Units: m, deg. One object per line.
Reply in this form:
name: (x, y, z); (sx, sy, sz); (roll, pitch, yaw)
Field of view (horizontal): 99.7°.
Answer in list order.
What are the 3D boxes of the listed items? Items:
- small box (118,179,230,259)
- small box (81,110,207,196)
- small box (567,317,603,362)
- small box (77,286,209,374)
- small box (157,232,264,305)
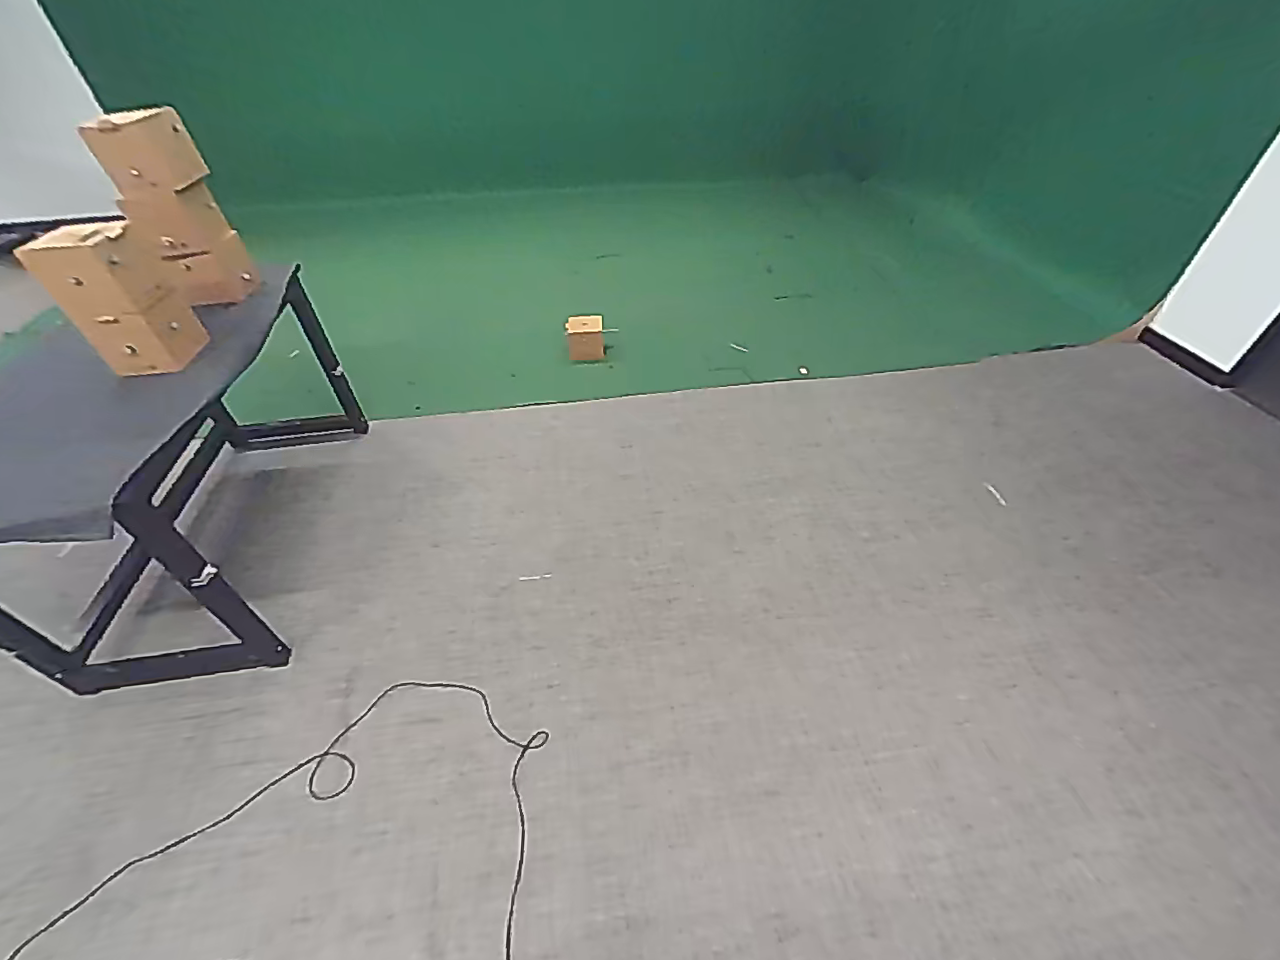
small box: (-1.377, -0.784, 1.616); (0.168, 0.176, 0.179); (-10, 46, -4)
small box: (-1.367, -0.914, 1.511); (0.168, 0.176, 0.179); (-7, 45, 0)
small box: (-0.282, -0.733, 2.824); (0.179, 0.176, 0.168); (-4, 44, -2)
small box: (-1.315, -0.397, 1.450); (0.168, 0.176, 0.179); (-6, 45, -3)
small box: (-1.369, -0.676, 1.737); (0.179, 0.176, 0.168); (-4, 45, 0)
